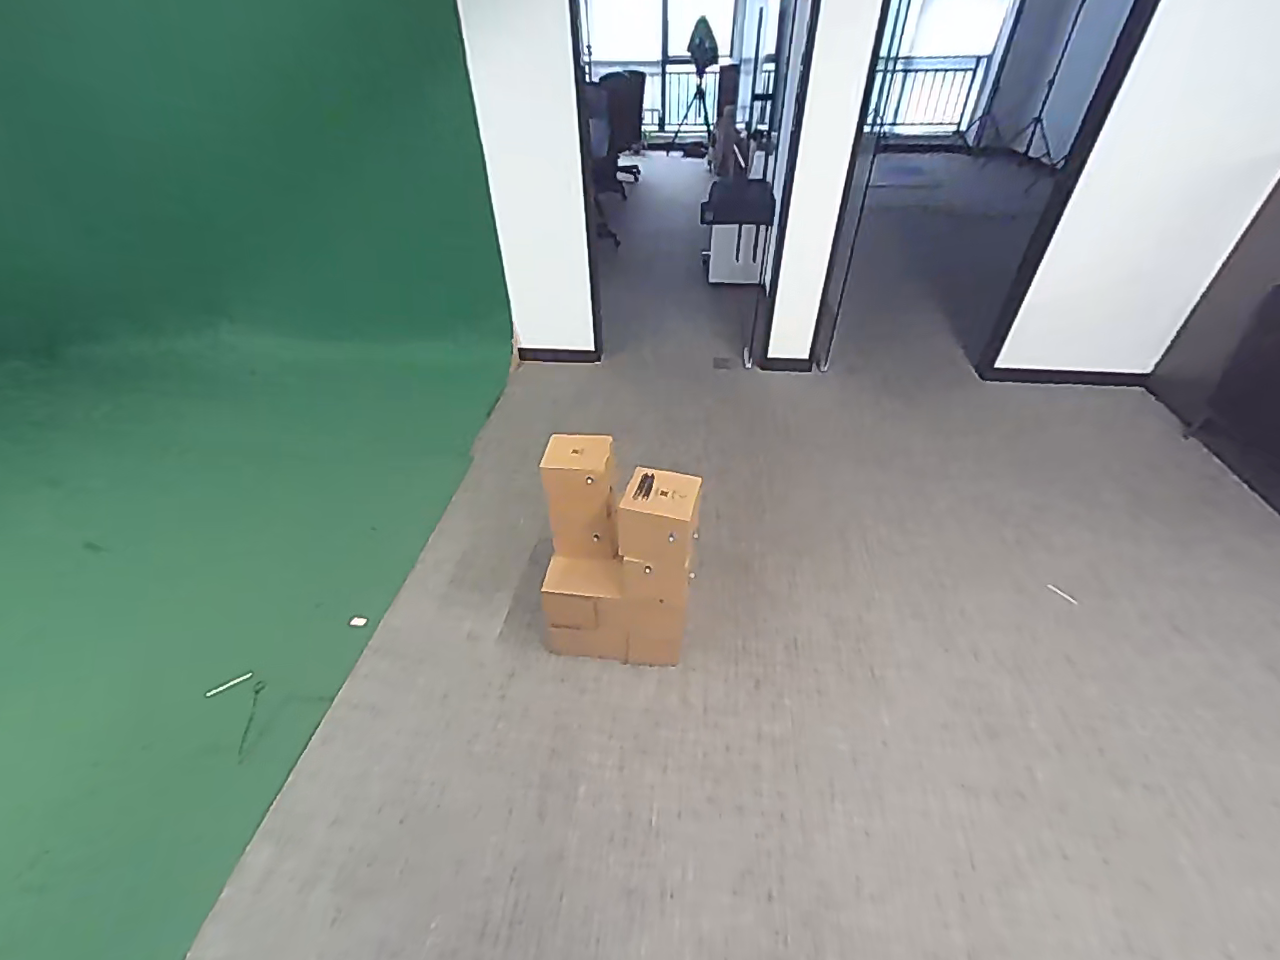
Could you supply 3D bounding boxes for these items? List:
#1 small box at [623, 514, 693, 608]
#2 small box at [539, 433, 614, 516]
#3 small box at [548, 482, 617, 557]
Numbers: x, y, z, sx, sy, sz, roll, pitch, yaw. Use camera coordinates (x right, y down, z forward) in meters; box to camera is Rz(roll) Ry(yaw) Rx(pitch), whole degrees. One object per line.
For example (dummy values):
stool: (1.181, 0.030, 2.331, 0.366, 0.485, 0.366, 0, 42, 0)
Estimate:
small box: (0.050, 0.220, 1.482, 0.168, 0.176, 0.179, 7, 39, 8)
small box: (-0.172, -0.014, 1.519, 0.179, 0.176, 0.168, 4, 38, 4)
small box: (-0.164, 0.116, 1.617, 0.179, 0.176, 0.168, 2, 38, 4)
